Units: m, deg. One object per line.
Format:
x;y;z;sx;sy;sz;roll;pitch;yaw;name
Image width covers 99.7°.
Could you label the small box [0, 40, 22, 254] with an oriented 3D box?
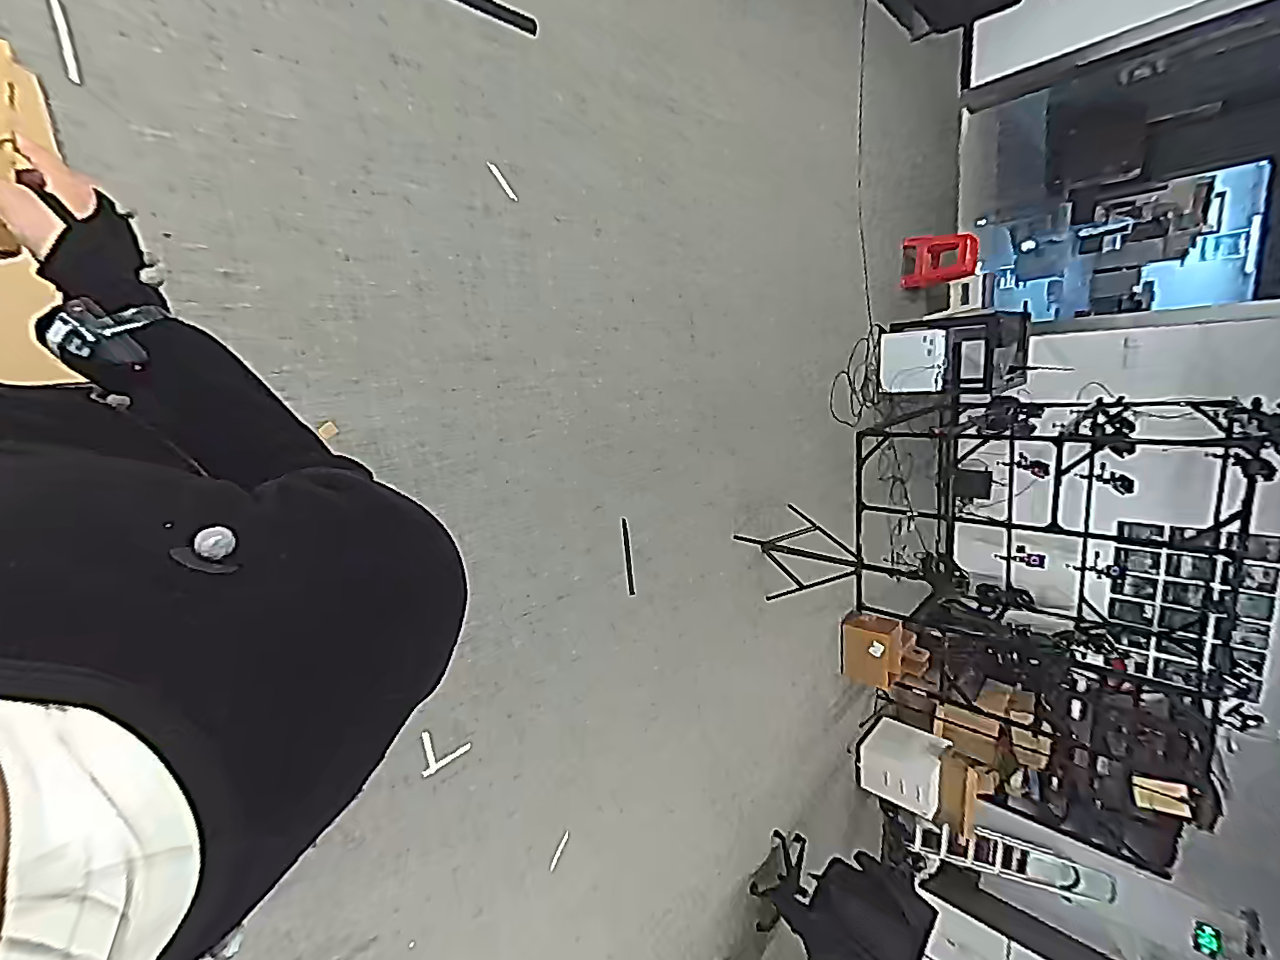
-0.616;-0.271;0.401;0.179;0.176;0.168;-8;106;-61;small box
